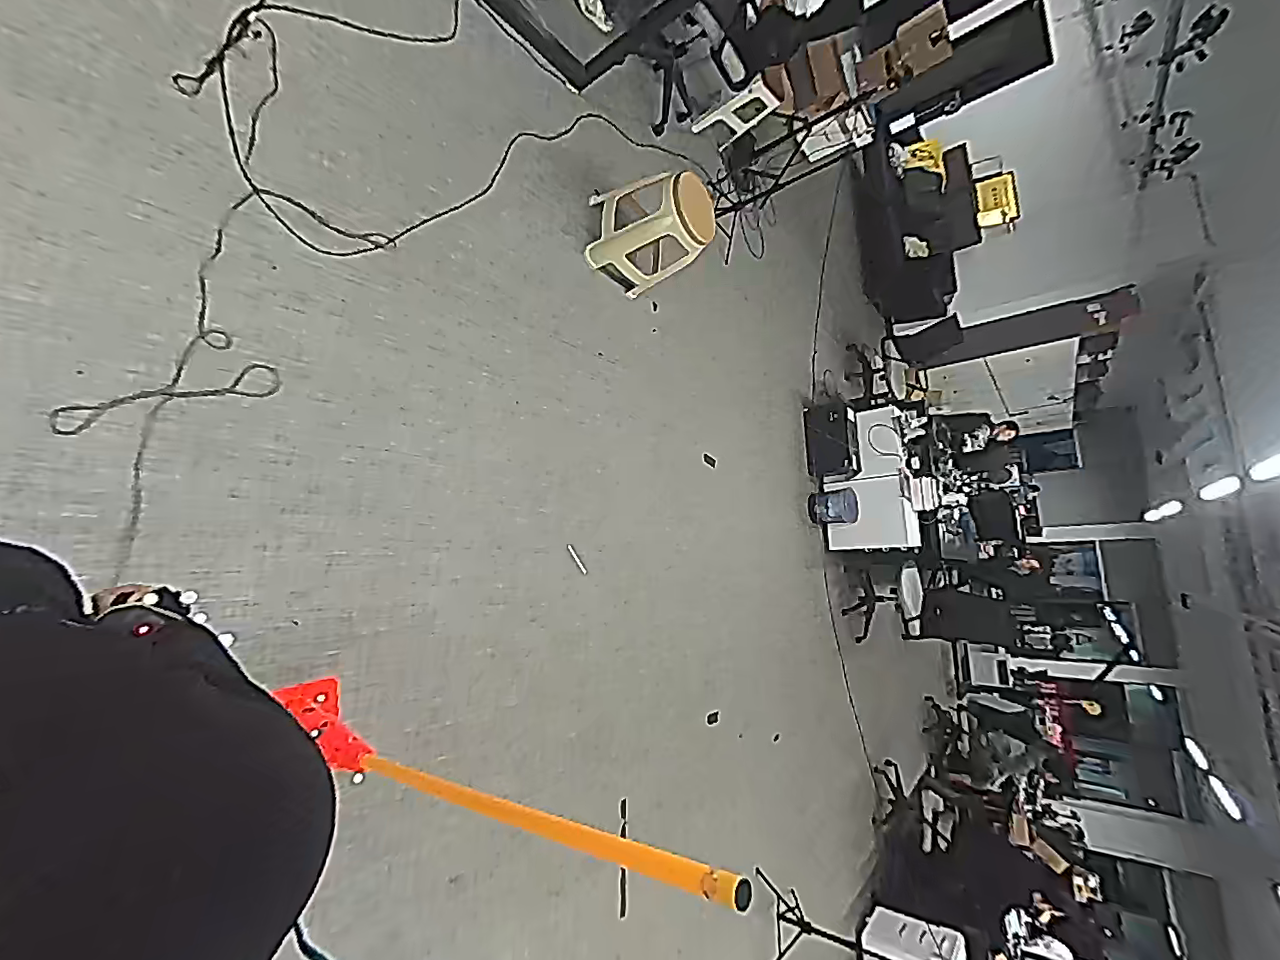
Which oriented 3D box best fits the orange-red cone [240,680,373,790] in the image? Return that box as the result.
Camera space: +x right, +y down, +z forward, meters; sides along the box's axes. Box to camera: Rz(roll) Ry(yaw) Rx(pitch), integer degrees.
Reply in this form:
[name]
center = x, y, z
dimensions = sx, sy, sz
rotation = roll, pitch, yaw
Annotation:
[orange-red cone]
center = -0.658, 0.550, 1.122
dimensions = 0.199, 0.360, 0.198
rotation = 2, 81, -51
